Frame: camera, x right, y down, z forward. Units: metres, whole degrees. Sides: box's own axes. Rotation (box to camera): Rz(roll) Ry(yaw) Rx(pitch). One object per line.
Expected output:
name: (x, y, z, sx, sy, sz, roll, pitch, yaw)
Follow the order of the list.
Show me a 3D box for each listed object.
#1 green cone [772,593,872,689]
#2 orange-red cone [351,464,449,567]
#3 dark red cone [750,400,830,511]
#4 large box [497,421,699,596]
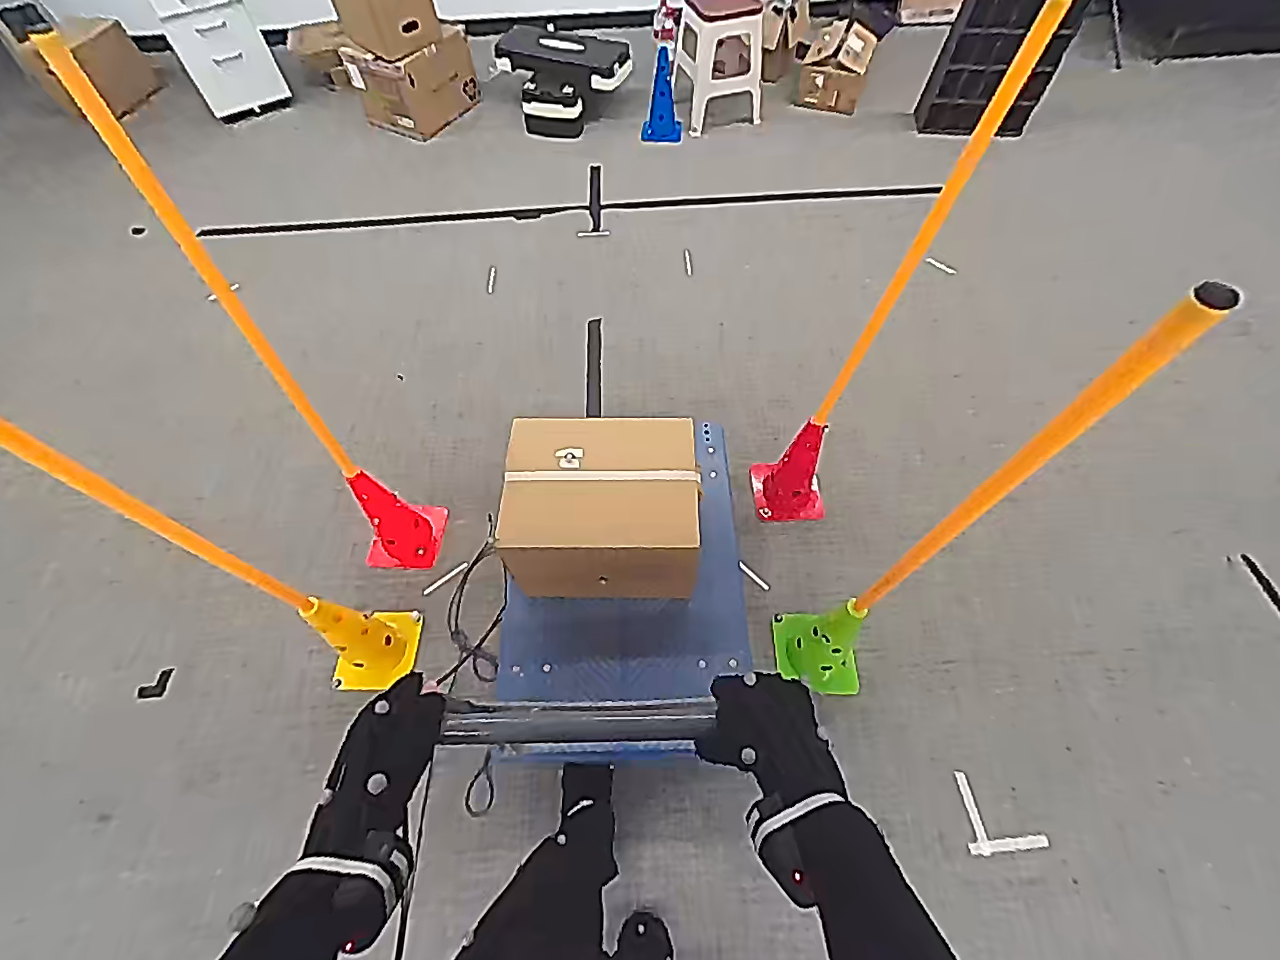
green cone: (0.447, 0.346, 1.251, 0.202, 0.368, 0.200, 1, 59, 1)
orange-red cone: (-0.680, 0.068, 1.454, 0.198, 0.360, 0.199, 4, 58, 3)
dark red cone: (0.444, -0.078, 1.488, 0.201, 0.394, 0.202, -2, 59, -2)
large box: (-0.078, 0.079, 1.263, 0.408, 0.320, 0.320, 0, 60, 2)
